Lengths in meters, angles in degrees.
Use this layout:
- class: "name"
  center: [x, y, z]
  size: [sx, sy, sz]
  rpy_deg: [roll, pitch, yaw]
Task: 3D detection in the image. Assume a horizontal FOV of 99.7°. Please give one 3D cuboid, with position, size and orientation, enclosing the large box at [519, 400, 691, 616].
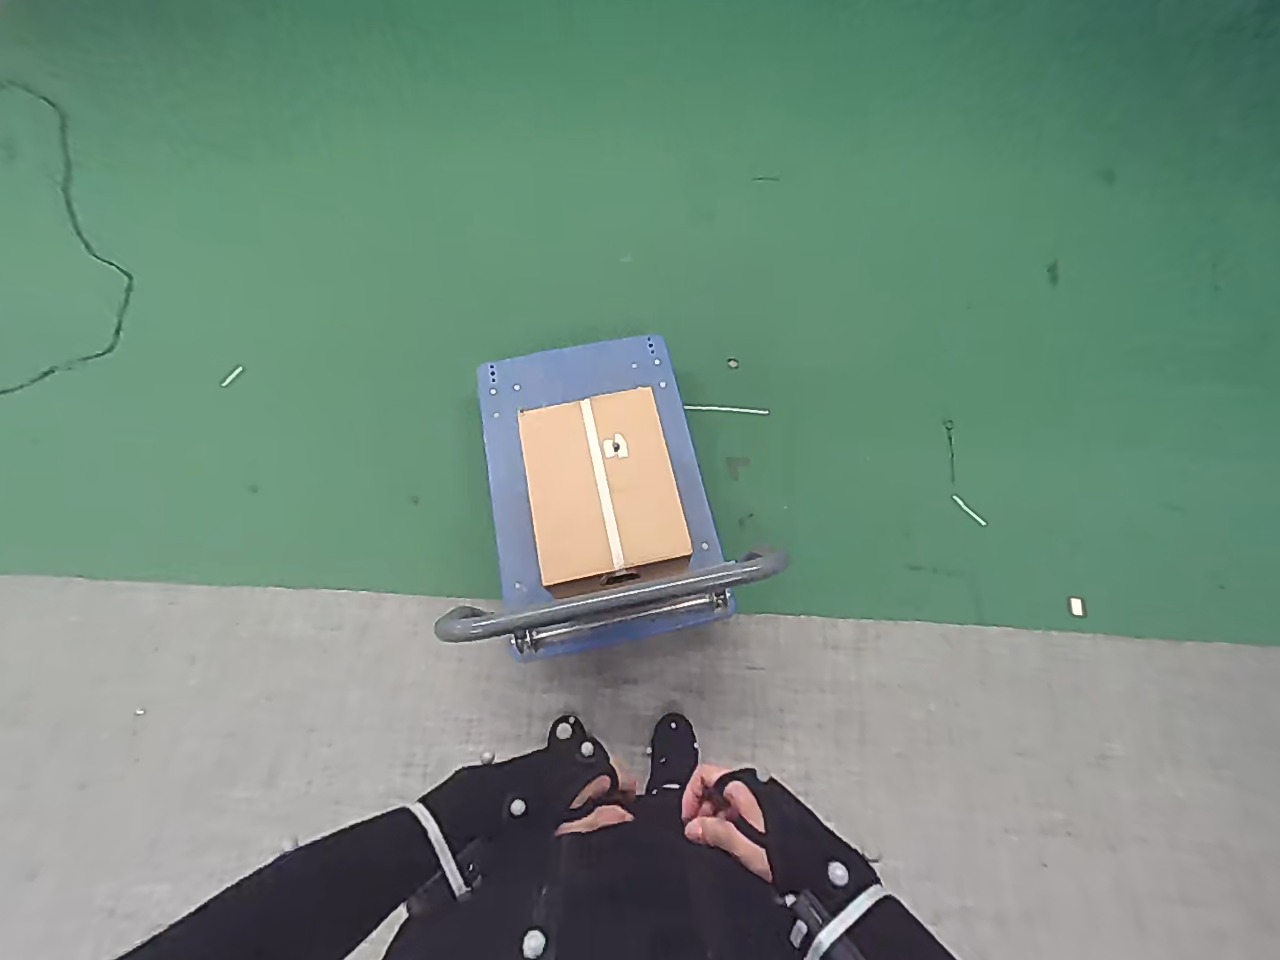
- class: "large box"
  center: [-0.082, 0.079, 1.309]
  size: [0.320, 0.320, 0.408]
  rpy_deg: [-12, 67, -4]
